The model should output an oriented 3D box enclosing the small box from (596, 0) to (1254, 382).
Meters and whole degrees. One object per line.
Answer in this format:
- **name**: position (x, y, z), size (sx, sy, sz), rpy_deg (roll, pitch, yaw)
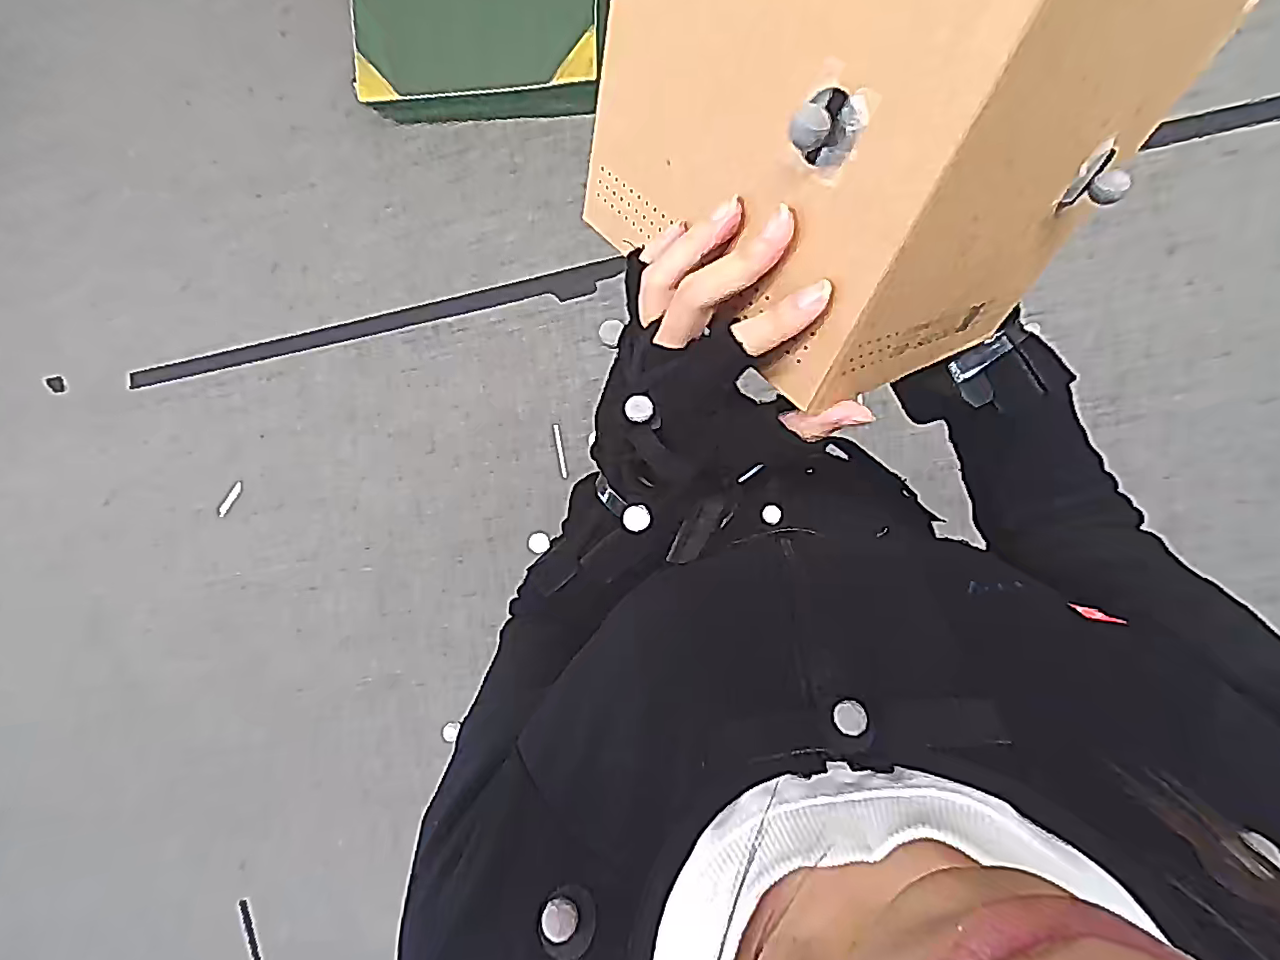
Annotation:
- **small box**: position (0.100, -0.163, 0.248), size (0.179, 0.168, 0.176), rpy_deg (49, 143, 26)
